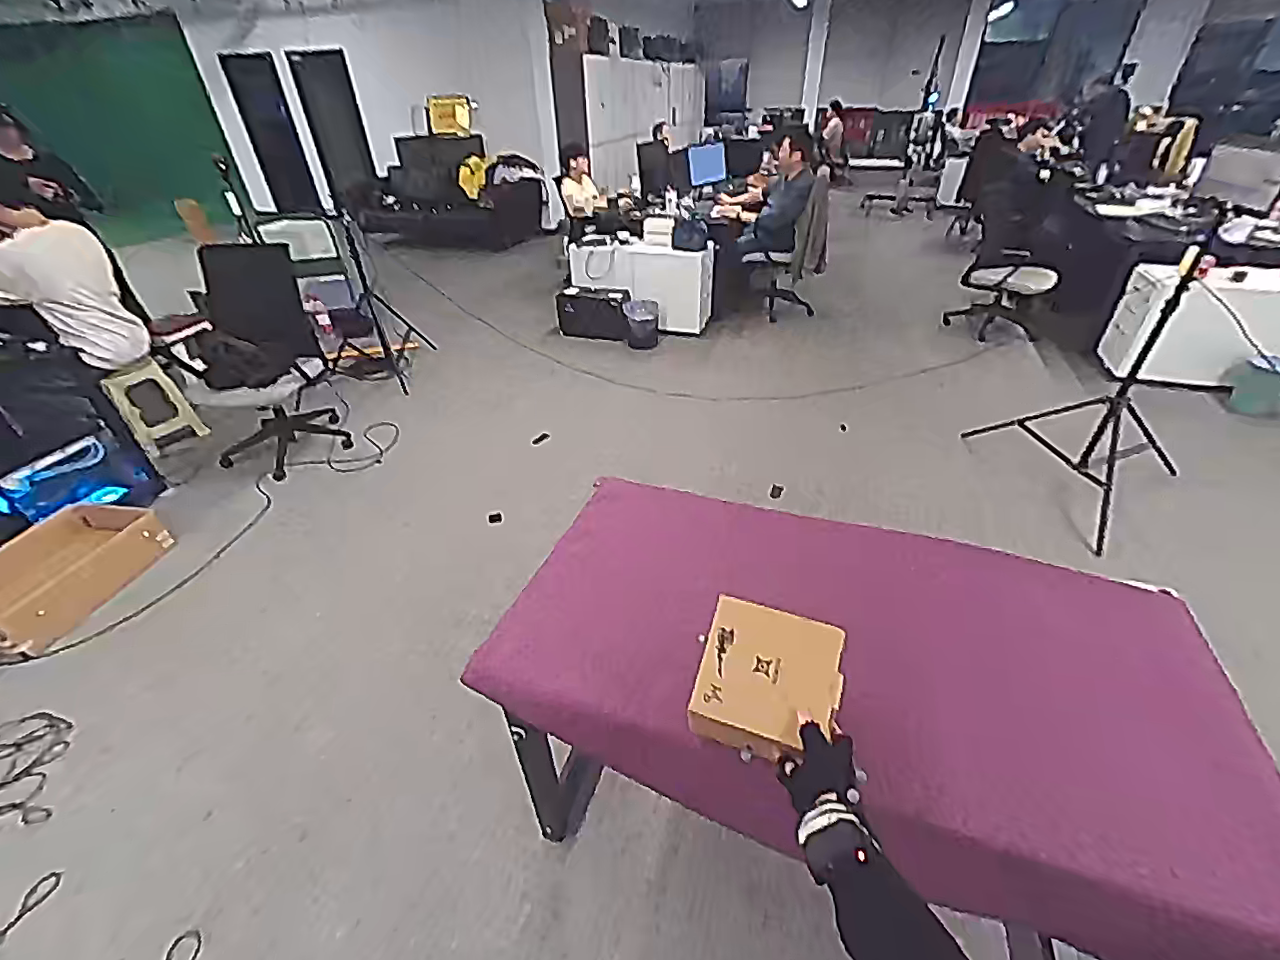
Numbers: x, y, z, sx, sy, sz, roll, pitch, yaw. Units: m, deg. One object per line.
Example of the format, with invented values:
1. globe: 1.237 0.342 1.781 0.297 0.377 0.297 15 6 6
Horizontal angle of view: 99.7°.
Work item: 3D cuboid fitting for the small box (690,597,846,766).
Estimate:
1. small box: 0.179 0.296 0.781 0.179 0.176 0.168 14 58 15
